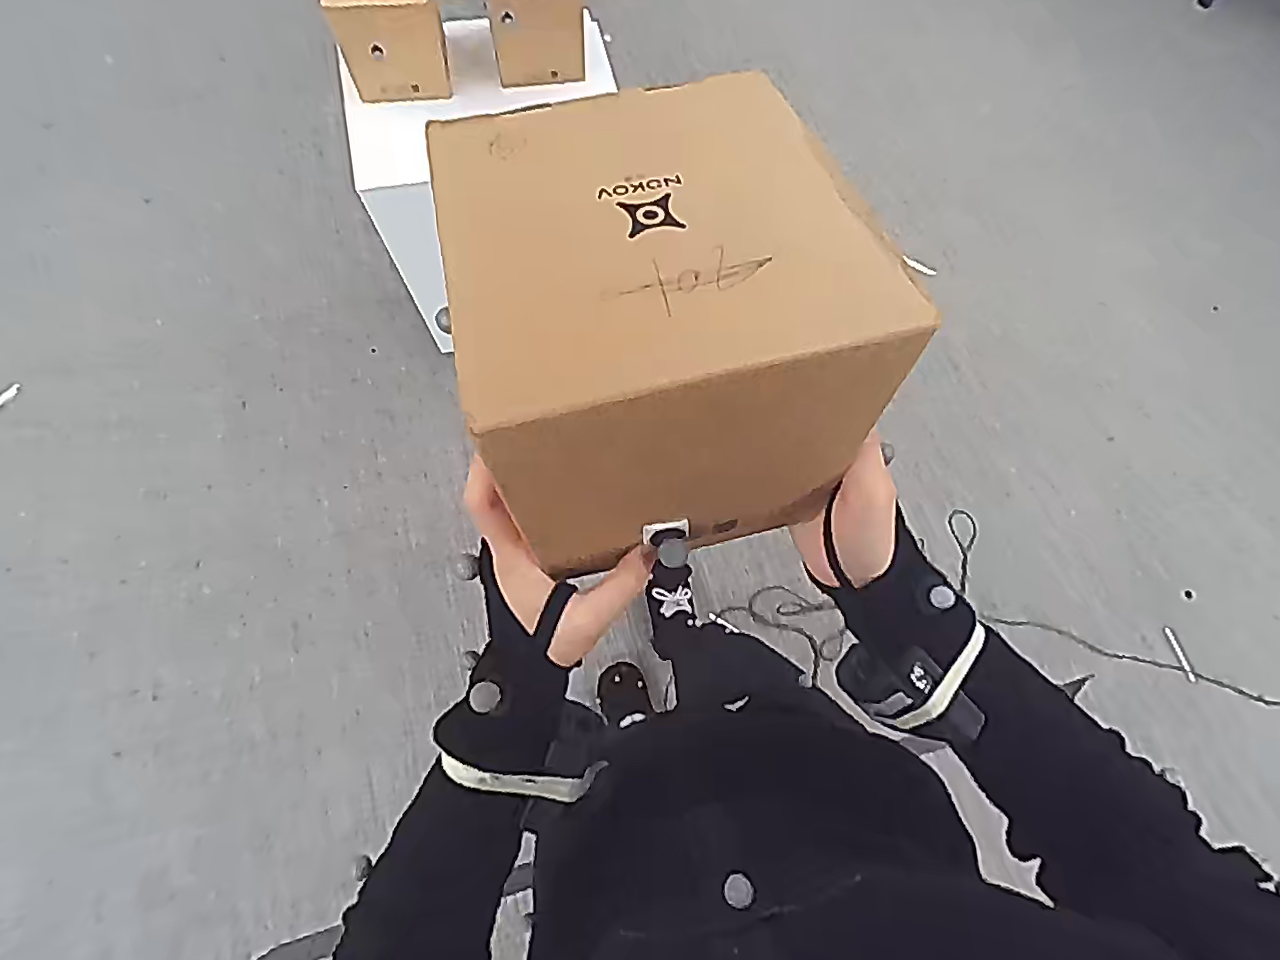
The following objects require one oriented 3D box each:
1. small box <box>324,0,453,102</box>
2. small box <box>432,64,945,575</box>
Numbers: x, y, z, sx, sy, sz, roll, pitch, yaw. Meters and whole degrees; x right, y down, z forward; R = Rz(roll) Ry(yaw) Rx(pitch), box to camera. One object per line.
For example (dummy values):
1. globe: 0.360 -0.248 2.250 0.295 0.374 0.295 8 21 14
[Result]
1. small box: -0.443 -0.813 0.969 0.168 0.176 0.179 -9 73 -8
2. small box: 0.006 -0.072 0.285 0.168 0.176 0.179 -15 63 -6
